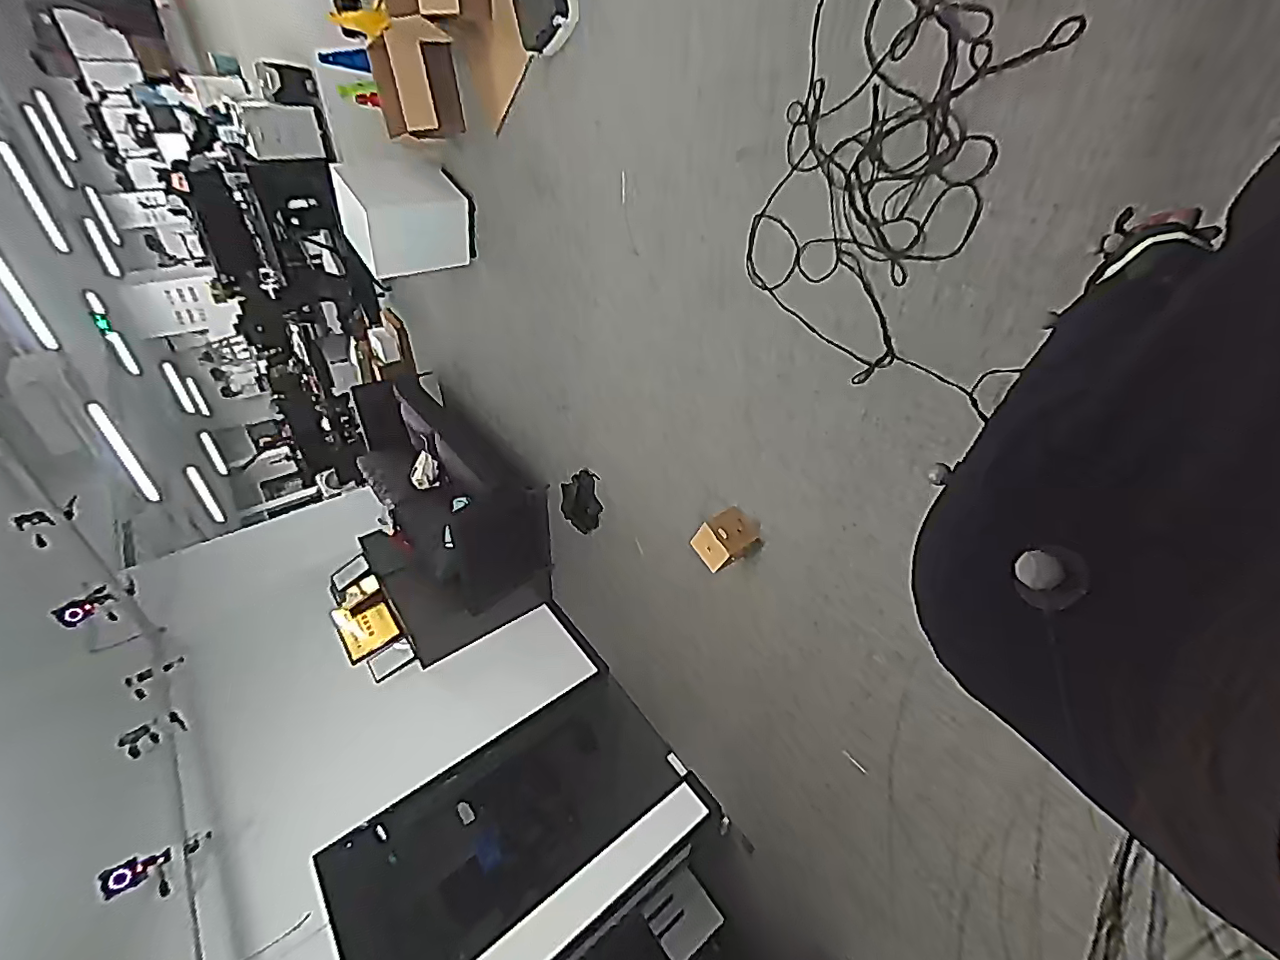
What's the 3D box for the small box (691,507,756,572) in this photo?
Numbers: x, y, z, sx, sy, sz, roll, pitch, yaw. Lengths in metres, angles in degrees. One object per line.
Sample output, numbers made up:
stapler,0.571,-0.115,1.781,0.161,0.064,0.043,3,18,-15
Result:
small box,0.341,0.240,2.189,0.168,0.176,0.179,54,147,21
